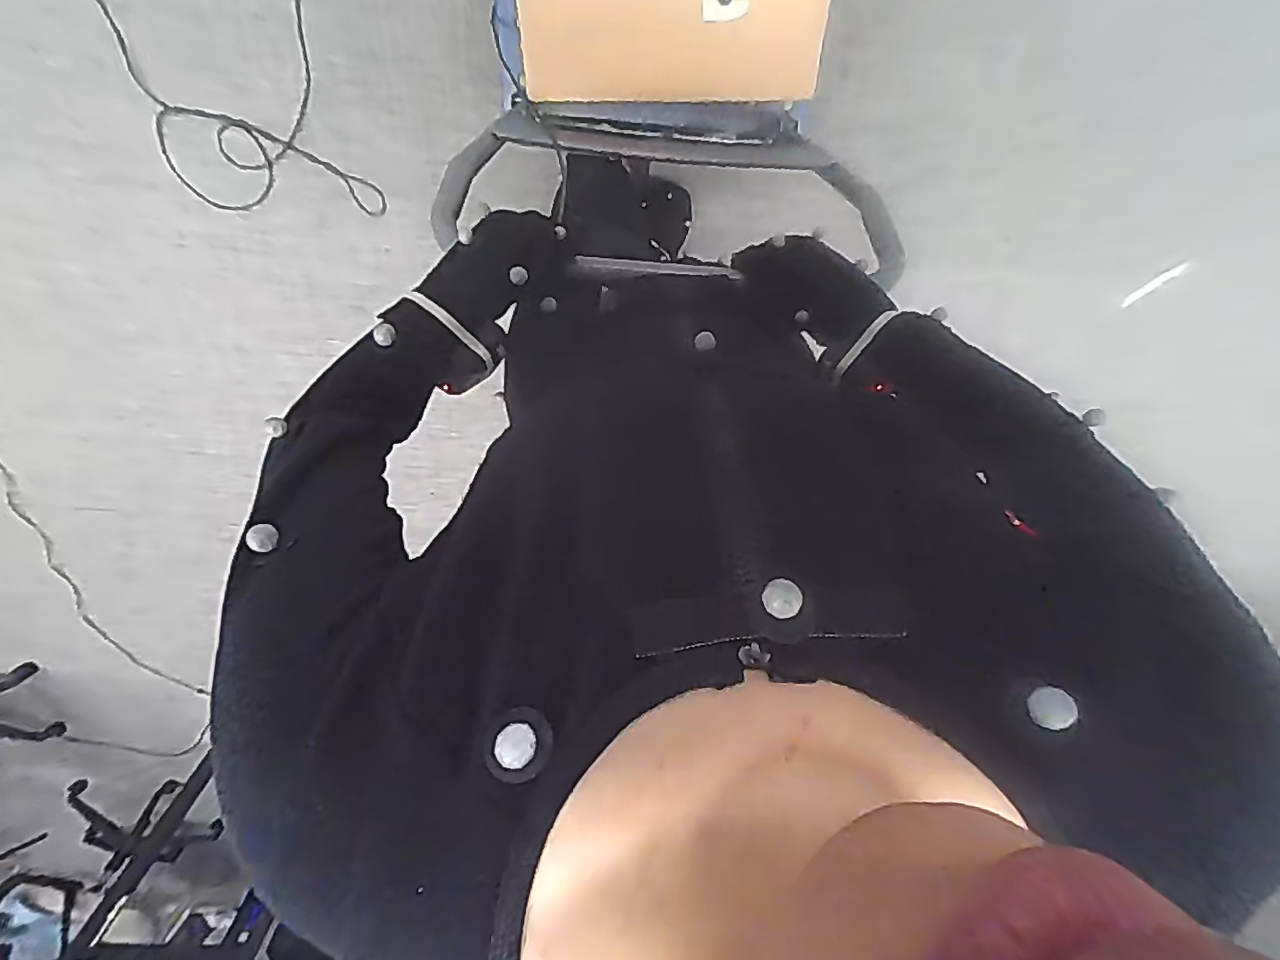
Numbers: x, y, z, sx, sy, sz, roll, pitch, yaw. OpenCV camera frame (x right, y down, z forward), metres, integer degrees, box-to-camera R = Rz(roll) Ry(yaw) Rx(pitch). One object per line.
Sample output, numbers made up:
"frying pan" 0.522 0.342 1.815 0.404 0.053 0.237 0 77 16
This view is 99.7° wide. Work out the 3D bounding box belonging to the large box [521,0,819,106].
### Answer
"large box" 0.033 -0.757 0.801 0.408 0.320 0.320 -2 129 -1
